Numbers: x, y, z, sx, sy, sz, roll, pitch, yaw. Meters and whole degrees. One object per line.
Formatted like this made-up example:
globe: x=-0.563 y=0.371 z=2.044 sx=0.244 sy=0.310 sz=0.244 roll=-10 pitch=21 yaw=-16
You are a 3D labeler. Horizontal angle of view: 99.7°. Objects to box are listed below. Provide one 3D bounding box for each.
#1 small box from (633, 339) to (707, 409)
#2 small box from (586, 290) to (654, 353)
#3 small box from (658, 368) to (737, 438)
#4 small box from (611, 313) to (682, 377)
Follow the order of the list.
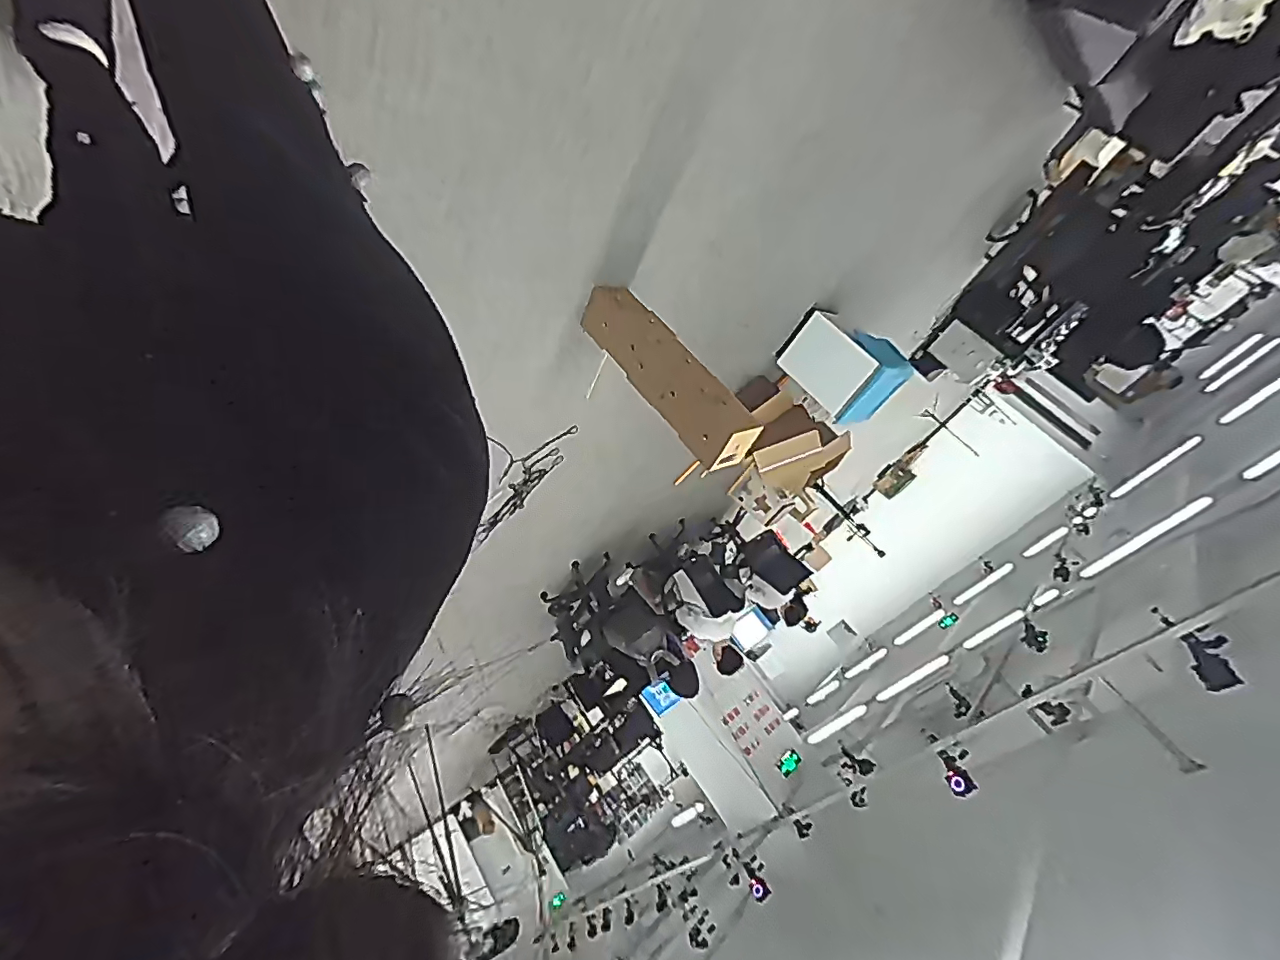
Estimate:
small box: x=0.100 y=-0.383 z=1.939 sx=0.168 sy=0.176 sz=0.179 roll=-17 pitch=149 yaw=-41
small box: x=-0.084 y=-0.613 z=2.081 sx=0.168 sy=0.176 sz=0.179 roll=-16 pitch=148 yaw=-43
small box: x=0.195 y=-0.271 z=1.869 sx=0.179 sy=0.176 sz=0.168 roll=-16 pitch=147 yaw=-41
small box: x=0.016 y=-0.504 z=2.011 sx=0.168 sy=0.176 sz=0.179 roll=-15 pitch=146 yaw=-43
